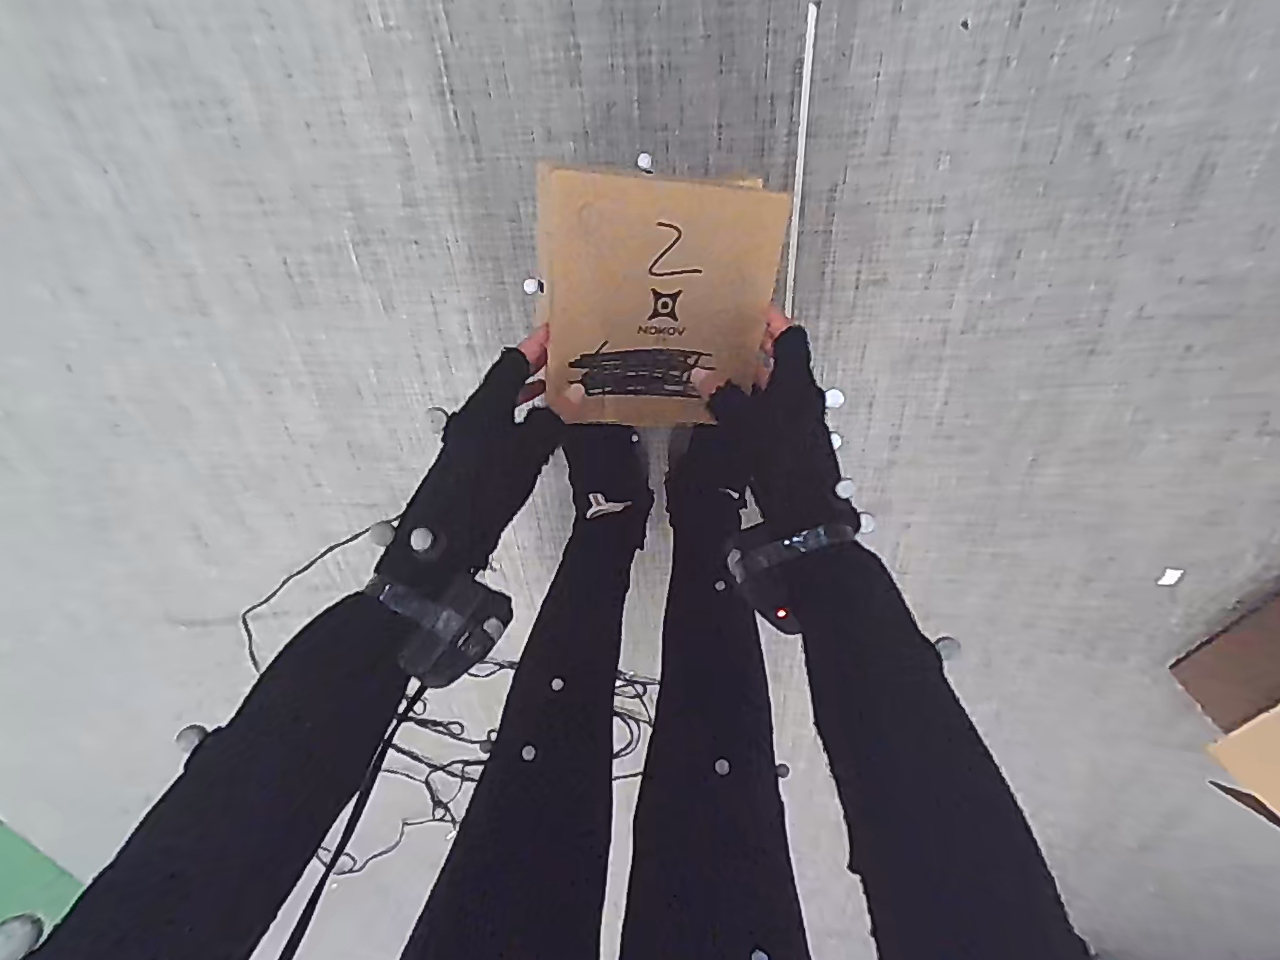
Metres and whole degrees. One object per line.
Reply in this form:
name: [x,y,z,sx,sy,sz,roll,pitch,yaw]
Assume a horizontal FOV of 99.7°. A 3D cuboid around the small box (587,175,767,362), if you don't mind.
small box: [0.049,-0.247,0.622,0.179,0.176,0.168,-2,121,9]
